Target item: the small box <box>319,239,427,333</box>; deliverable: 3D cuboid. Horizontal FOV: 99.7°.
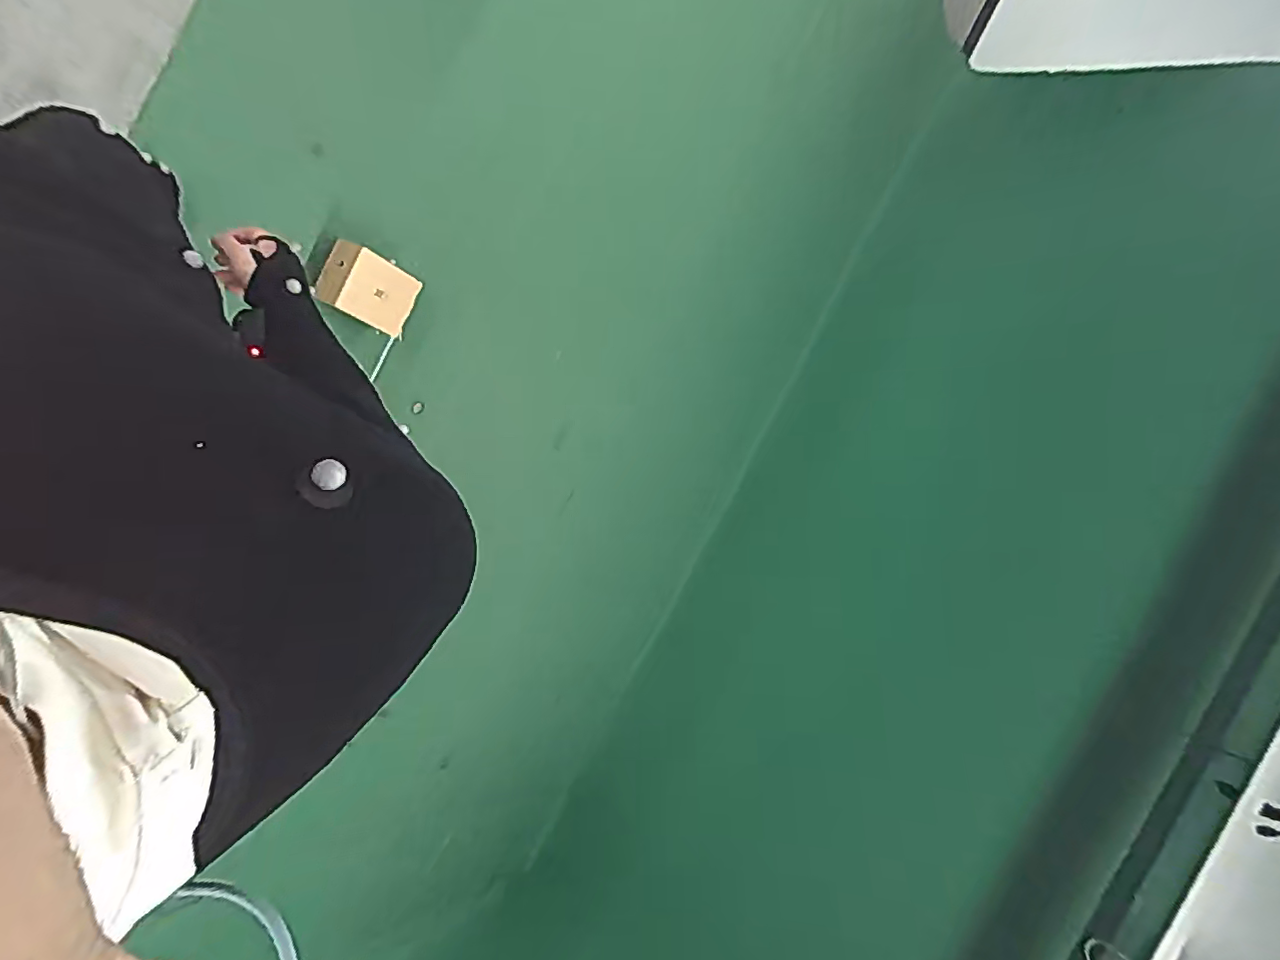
[{"bbox_3d":[-0.713,-0.516,1.434,0.179,0.176,0.168,24,94,-55],"label":"small box"}]
